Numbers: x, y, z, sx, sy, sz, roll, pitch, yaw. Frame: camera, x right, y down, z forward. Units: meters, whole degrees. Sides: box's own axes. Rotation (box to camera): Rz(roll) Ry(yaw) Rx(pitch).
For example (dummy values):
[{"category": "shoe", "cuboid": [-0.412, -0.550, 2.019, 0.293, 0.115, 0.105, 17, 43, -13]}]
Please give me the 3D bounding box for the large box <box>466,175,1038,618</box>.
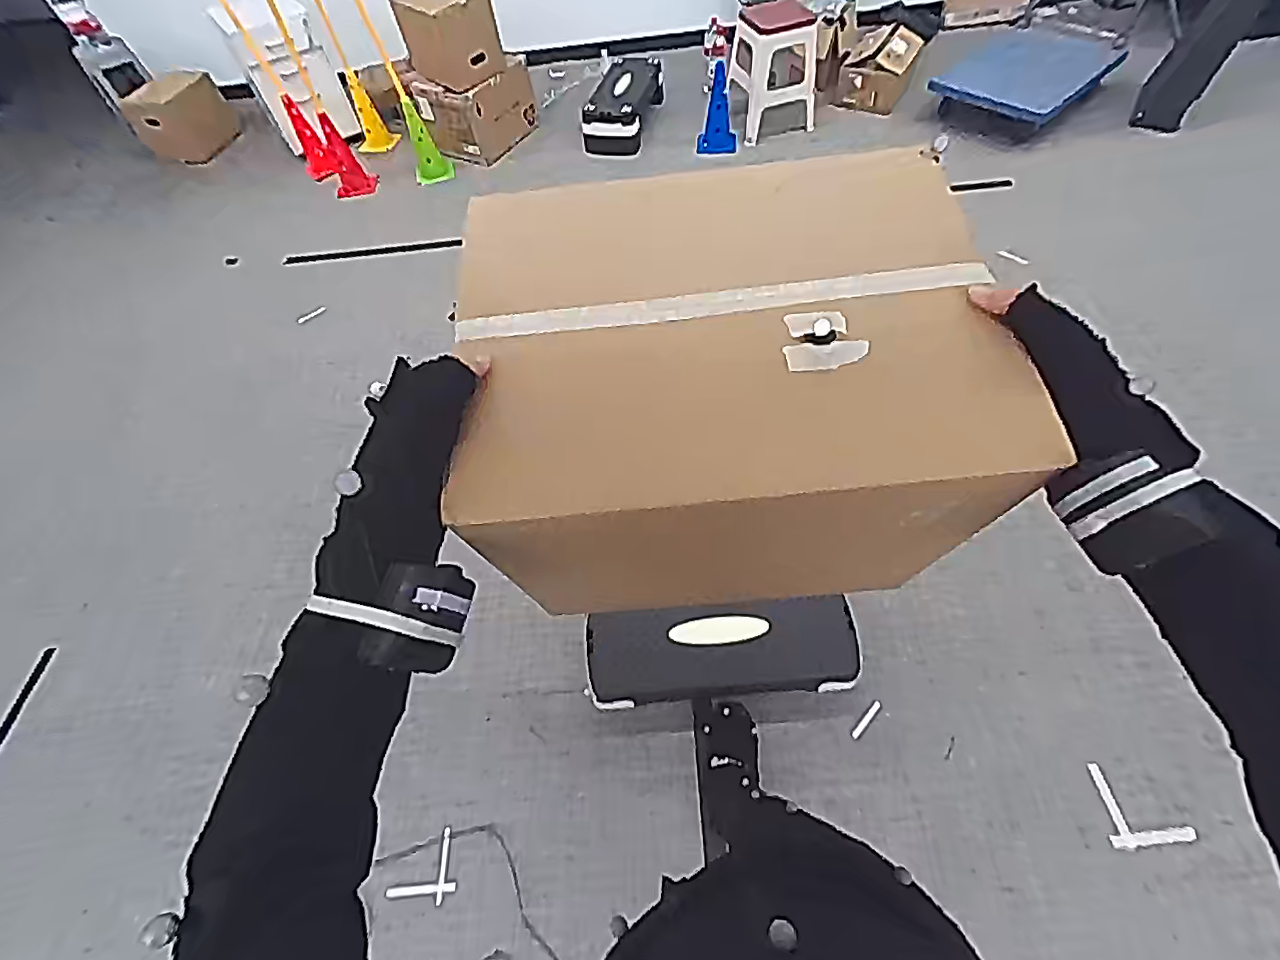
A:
[{"category": "large box", "cuboid": [0.071, -0.059, 0.568, 0.408, 0.320, 0.320, -6, 64, 2]}]
